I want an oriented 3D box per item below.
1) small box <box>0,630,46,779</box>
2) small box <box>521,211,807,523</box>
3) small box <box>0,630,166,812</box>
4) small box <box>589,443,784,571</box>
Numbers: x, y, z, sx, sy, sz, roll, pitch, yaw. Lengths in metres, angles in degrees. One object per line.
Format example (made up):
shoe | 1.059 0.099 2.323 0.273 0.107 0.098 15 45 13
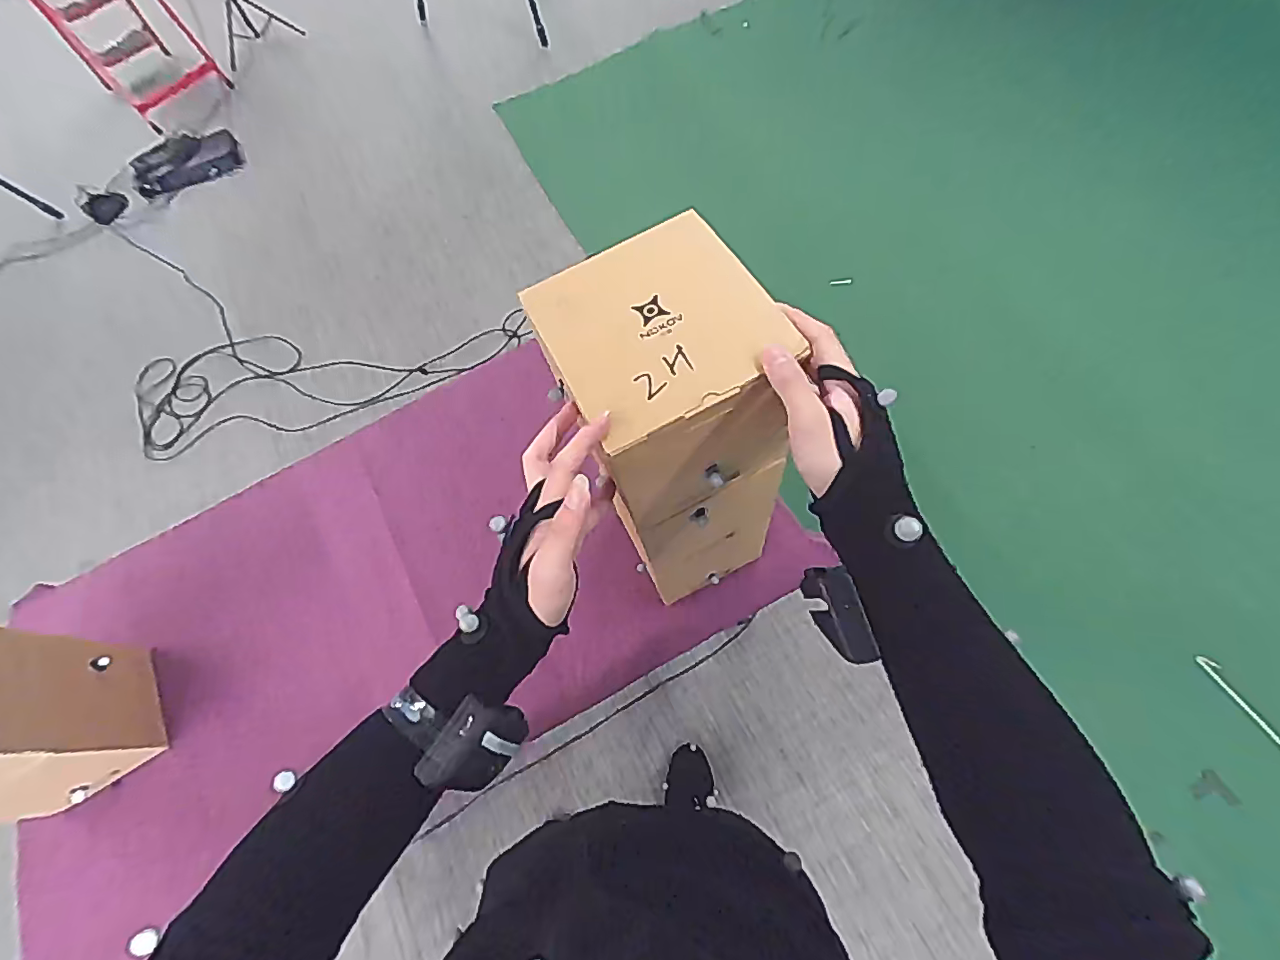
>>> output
small box | -0.842 0.273 0.609 0.168 0.176 0.179 -32 67 -7
small box | 0.020 -0.090 0.482 0.168 0.176 0.179 -28 65 -4
small box | -0.825 0.340 0.758 0.168 0.176 0.179 -32 67 -7
small box | 0.043 -0.019 0.632 0.168 0.176 0.179 -27 65 -4
